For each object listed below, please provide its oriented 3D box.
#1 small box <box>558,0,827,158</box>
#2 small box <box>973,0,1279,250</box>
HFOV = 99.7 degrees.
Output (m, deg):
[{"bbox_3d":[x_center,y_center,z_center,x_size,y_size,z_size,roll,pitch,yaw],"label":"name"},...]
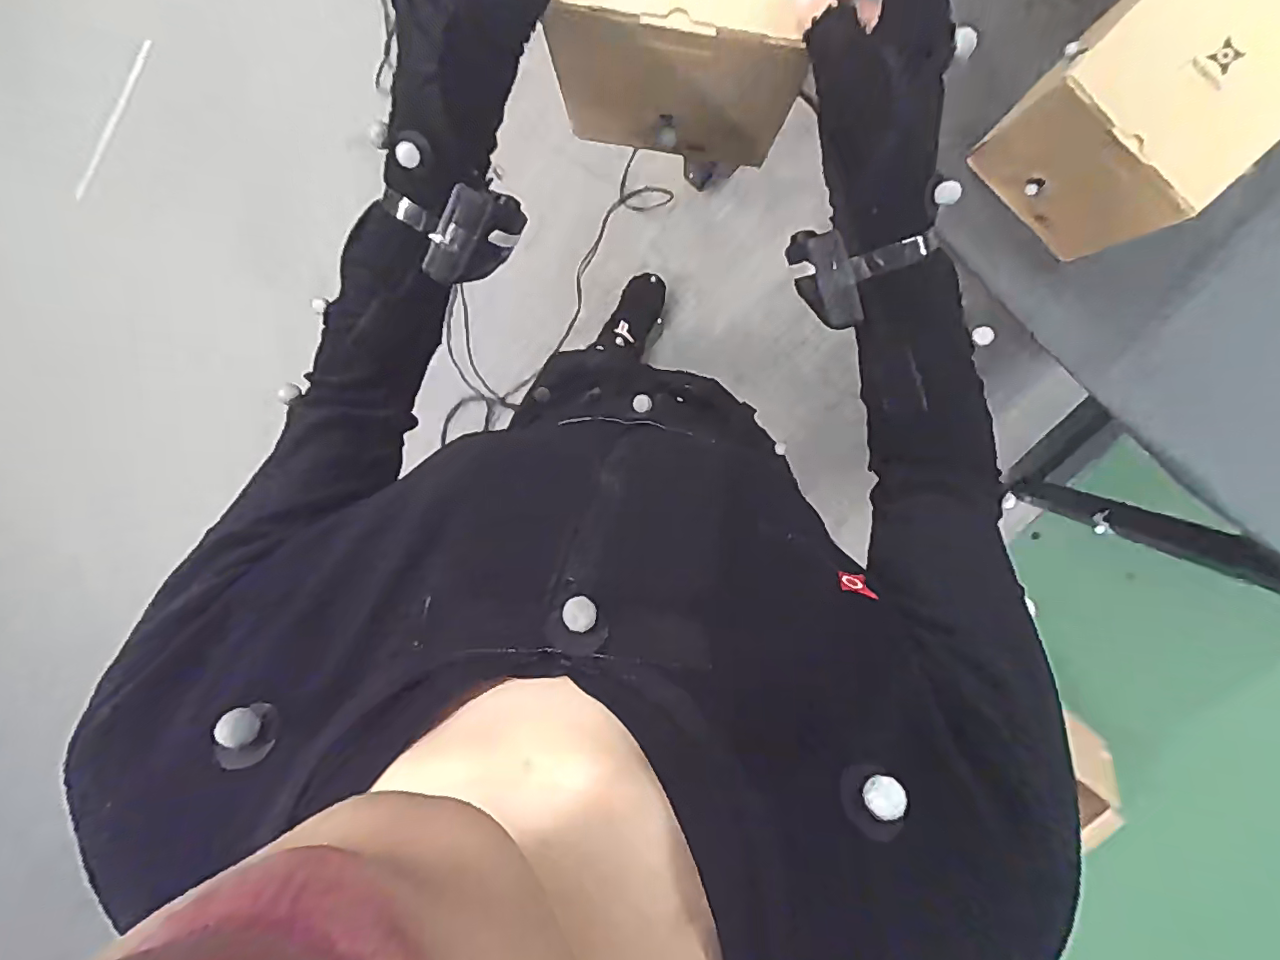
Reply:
[{"bbox_3d":[0.040,-0.364,0.374,0.168,0.176,0.179,11,99,-1],"label":"small box"},{"bbox_3d":[0.479,-0.361,0.525,0.168,0.176,0.179,43,100,-3],"label":"small box"}]
